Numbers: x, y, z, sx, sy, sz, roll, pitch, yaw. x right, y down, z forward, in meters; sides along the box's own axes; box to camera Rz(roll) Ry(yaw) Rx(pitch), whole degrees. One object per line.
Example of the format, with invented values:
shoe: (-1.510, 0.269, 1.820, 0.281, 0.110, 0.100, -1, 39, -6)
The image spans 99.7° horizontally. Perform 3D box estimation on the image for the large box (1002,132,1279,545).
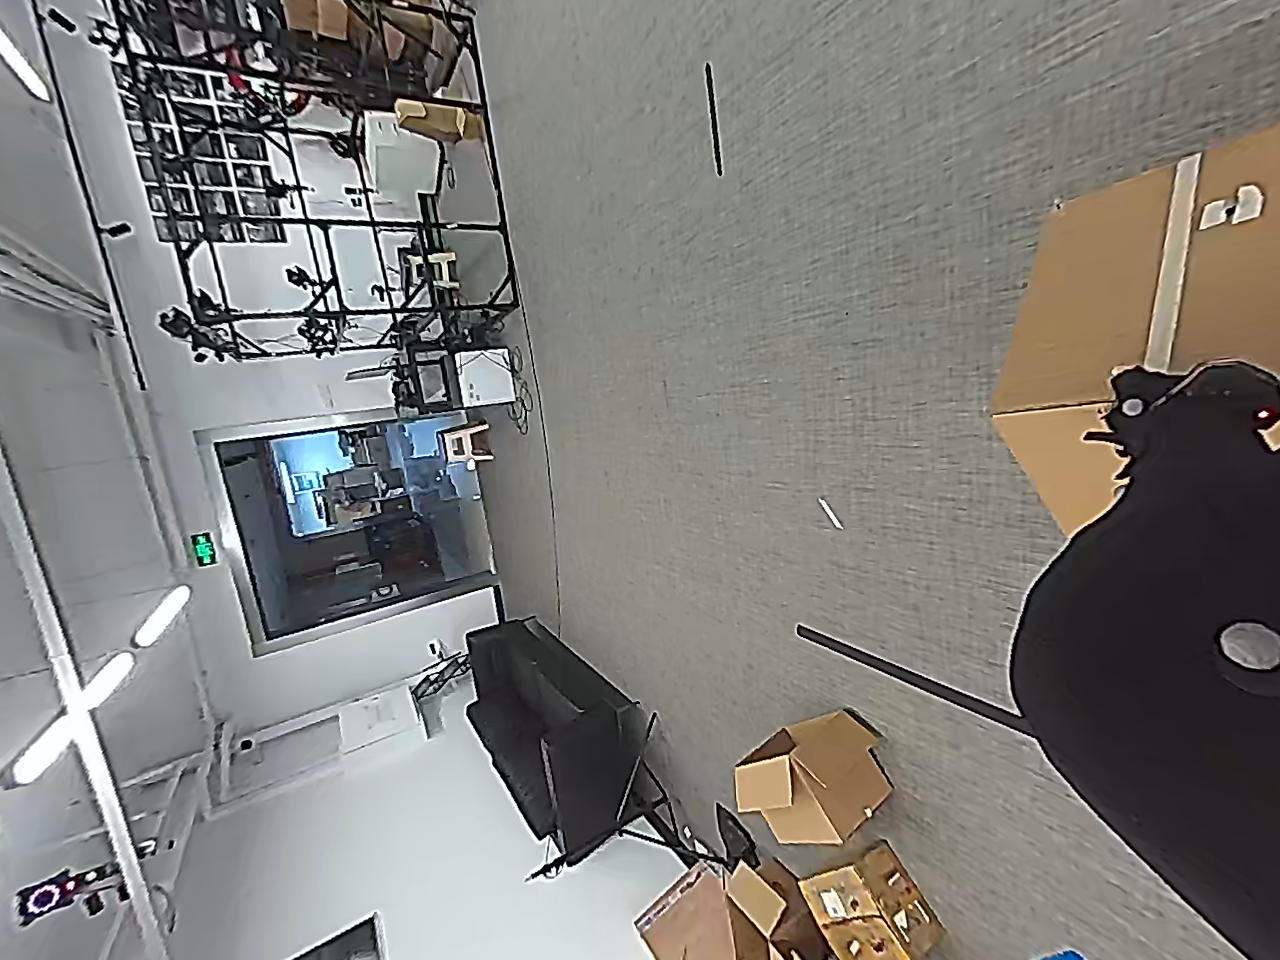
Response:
large box: (0.739, -0.163, 0.704, 0.320, 0.408, 0.320, 41, 157, -28)
